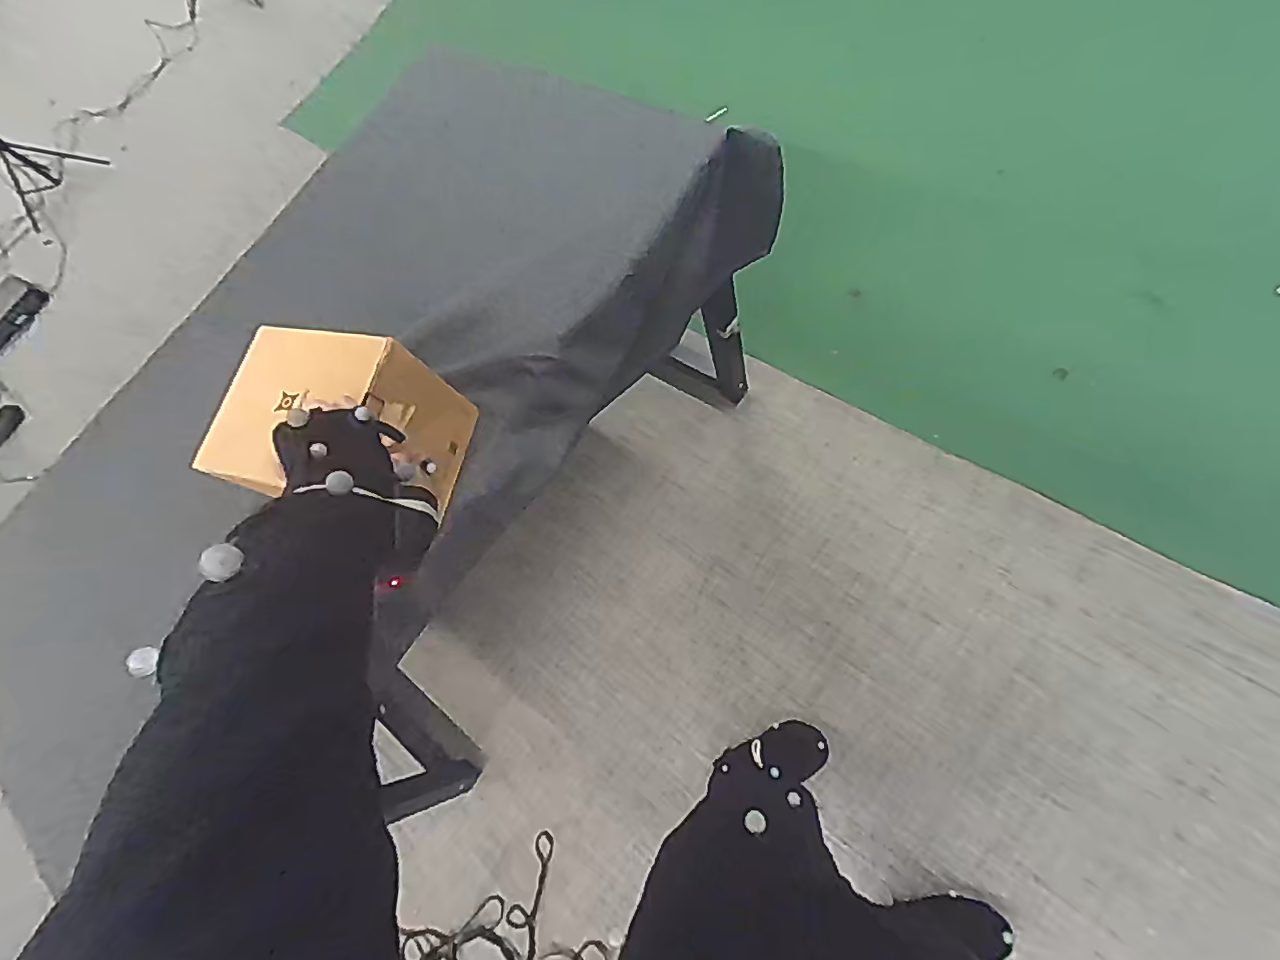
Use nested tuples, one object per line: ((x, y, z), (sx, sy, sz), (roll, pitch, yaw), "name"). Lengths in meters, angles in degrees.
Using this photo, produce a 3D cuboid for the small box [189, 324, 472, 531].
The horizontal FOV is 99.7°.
((-0.323, -0.050, 0.597), (0.179, 0.176, 0.168), (10, 74, 17), "small box")
